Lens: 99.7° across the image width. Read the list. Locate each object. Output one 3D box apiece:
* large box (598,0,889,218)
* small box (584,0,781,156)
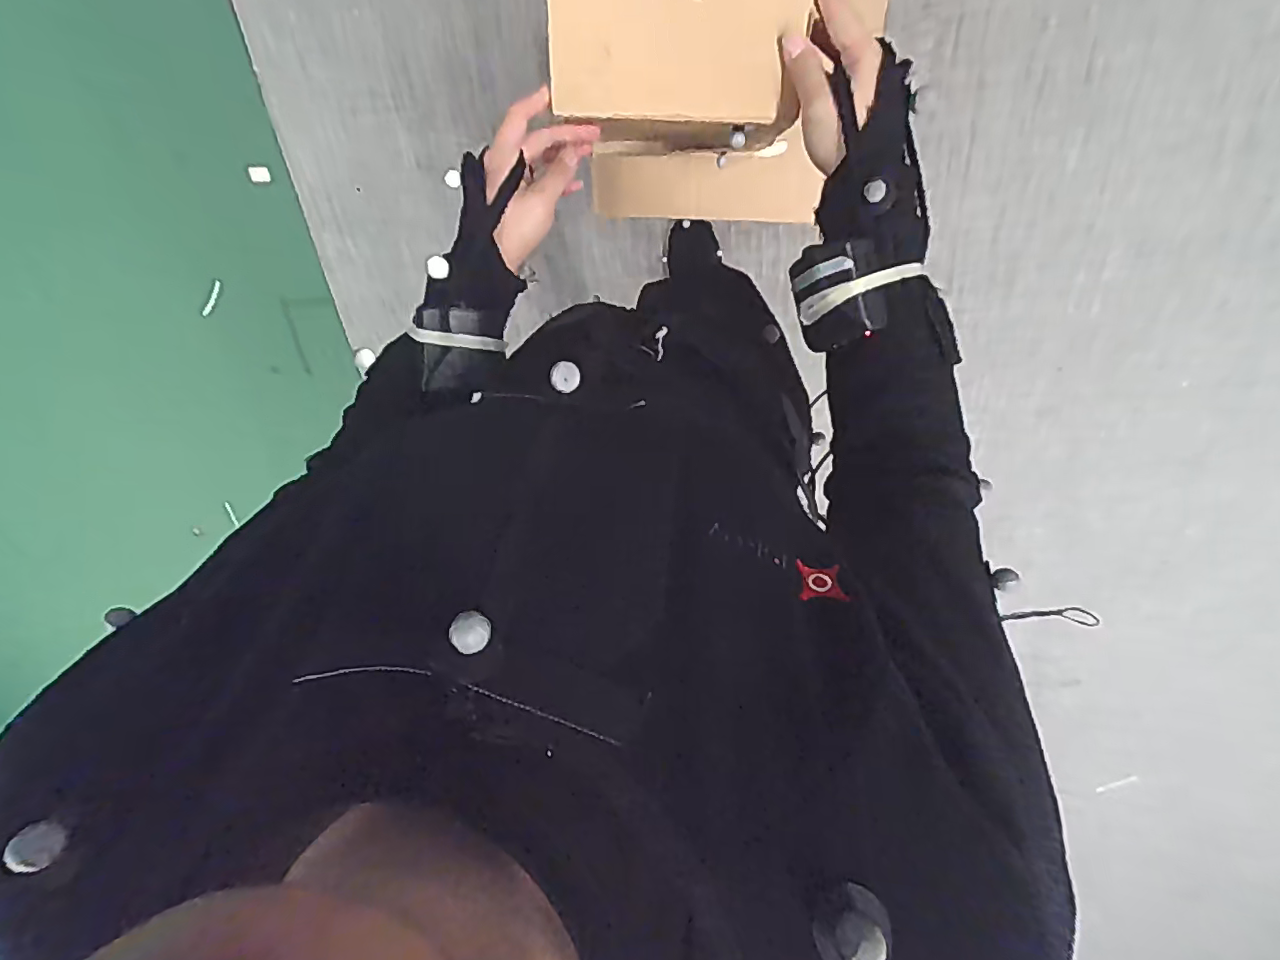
[{"bbox_3d":[0.148,-0.627,0.910,0.408,0.320,0.320,4,121,6],"label":"large box"},{"bbox_3d":[0.047,-0.437,0.561,0.179,0.176,0.168,2,119,8],"label":"small box"}]
